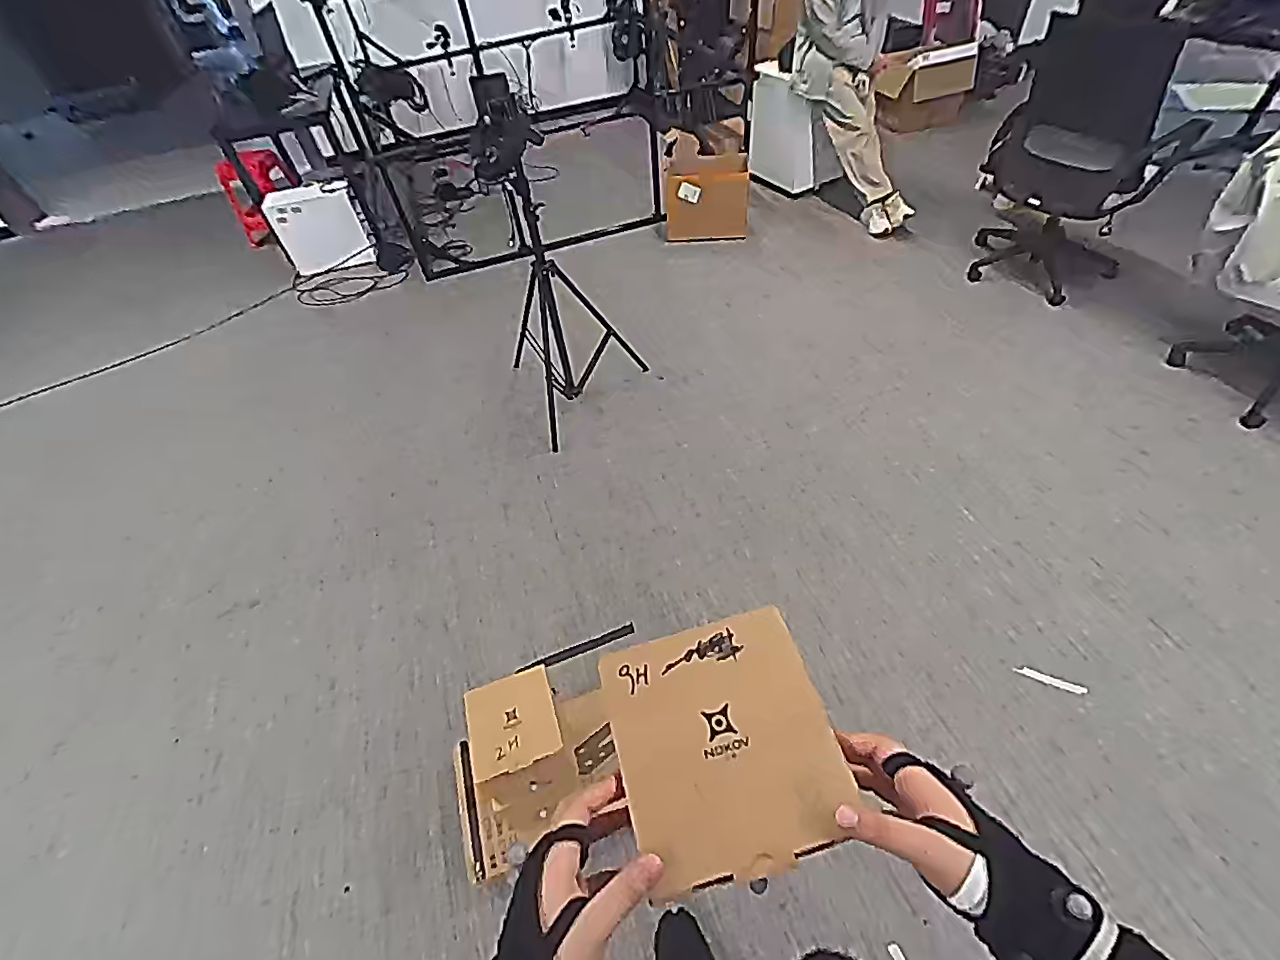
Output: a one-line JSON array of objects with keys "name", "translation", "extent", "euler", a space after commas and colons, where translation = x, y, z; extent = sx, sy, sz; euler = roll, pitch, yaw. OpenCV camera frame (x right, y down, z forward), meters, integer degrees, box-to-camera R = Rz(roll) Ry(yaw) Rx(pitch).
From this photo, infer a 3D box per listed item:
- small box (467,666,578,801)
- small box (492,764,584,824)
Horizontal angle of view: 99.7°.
[{"name": "small box", "translation": [-0.234, 0.511, 1.089], "extent": [0.168, 0.176, 0.179], "euler": [-18, 49, -9]}, {"name": "small box", "translation": [-0.235, 0.631, 1.204], "extent": [0.168, 0.176, 0.179], "euler": [-19, 50, -10]}]
